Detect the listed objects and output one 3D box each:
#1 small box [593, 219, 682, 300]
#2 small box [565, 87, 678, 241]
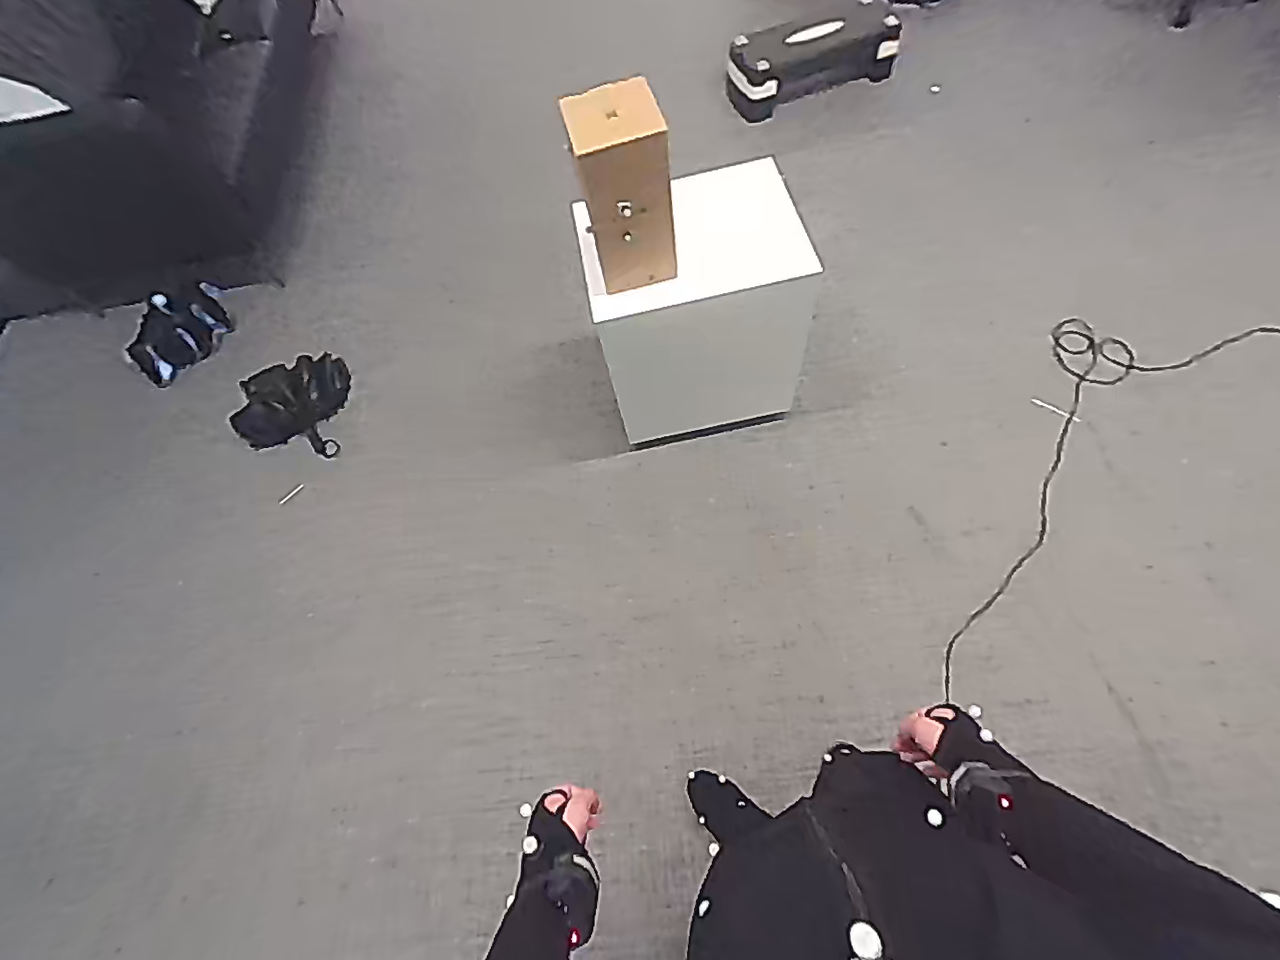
[{"bbox_3d":[-0.010,-0.528,1.178,0.168,0.176,0.179,-14,62,1],"label":"small box"},{"bbox_3d":[-0.031,-0.597,1.032,0.168,0.176,0.179,-17,64,1],"label":"small box"}]
